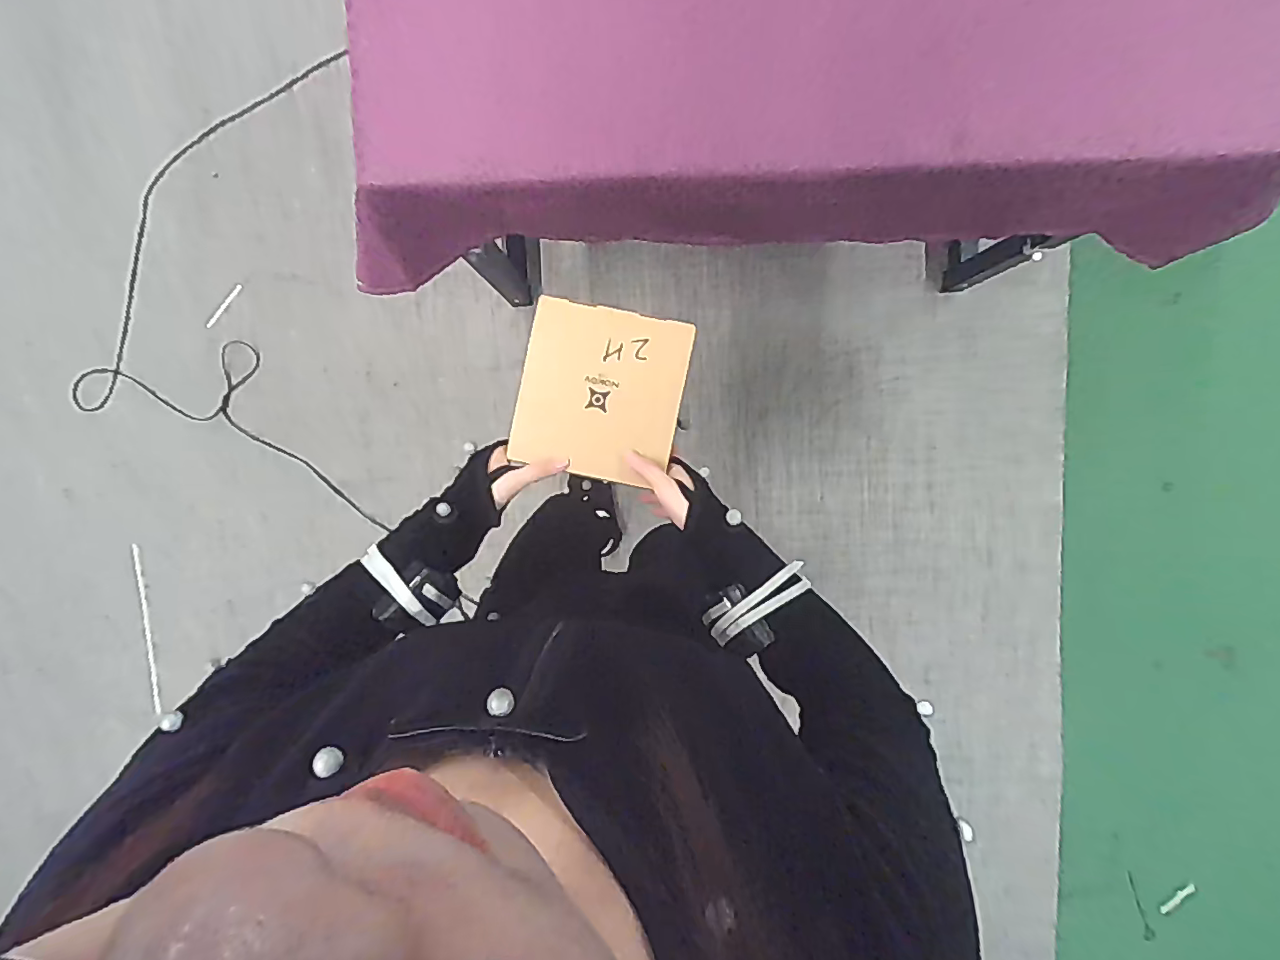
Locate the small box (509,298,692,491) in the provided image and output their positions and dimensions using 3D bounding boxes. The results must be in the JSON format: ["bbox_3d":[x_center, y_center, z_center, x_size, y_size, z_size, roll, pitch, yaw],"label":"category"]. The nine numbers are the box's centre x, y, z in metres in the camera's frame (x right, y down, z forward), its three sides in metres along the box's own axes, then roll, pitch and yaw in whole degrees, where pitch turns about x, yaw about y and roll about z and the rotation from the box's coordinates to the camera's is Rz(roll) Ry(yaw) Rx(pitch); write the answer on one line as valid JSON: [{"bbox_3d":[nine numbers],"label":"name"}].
[{"bbox_3d":[-0.039,-0.090,0.647,0.168,0.176,0.179,13,90,1],"label":"small box"}]
